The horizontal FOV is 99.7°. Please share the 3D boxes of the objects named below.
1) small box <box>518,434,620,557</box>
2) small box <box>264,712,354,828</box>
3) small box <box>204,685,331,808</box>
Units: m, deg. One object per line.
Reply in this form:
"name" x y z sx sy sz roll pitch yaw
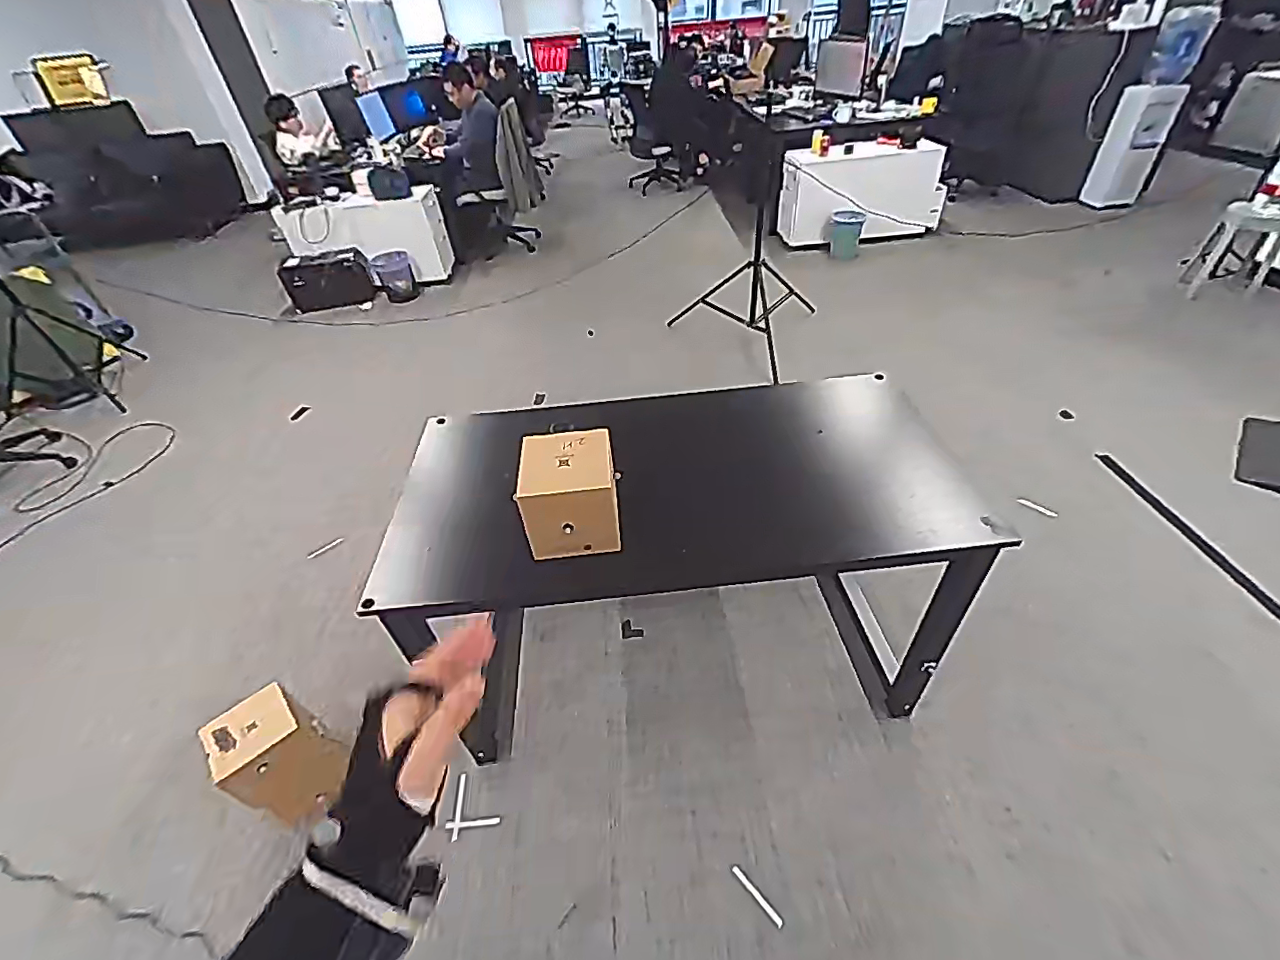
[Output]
"small box" -0.131 0.035 1.049 0.168 0.176 0.179 -6 41 -1
"small box" -0.882 0.759 1.417 0.168 0.176 0.179 31 51 34
"small box" -0.888 0.642 1.298 0.179 0.176 0.168 -34 49 -29
